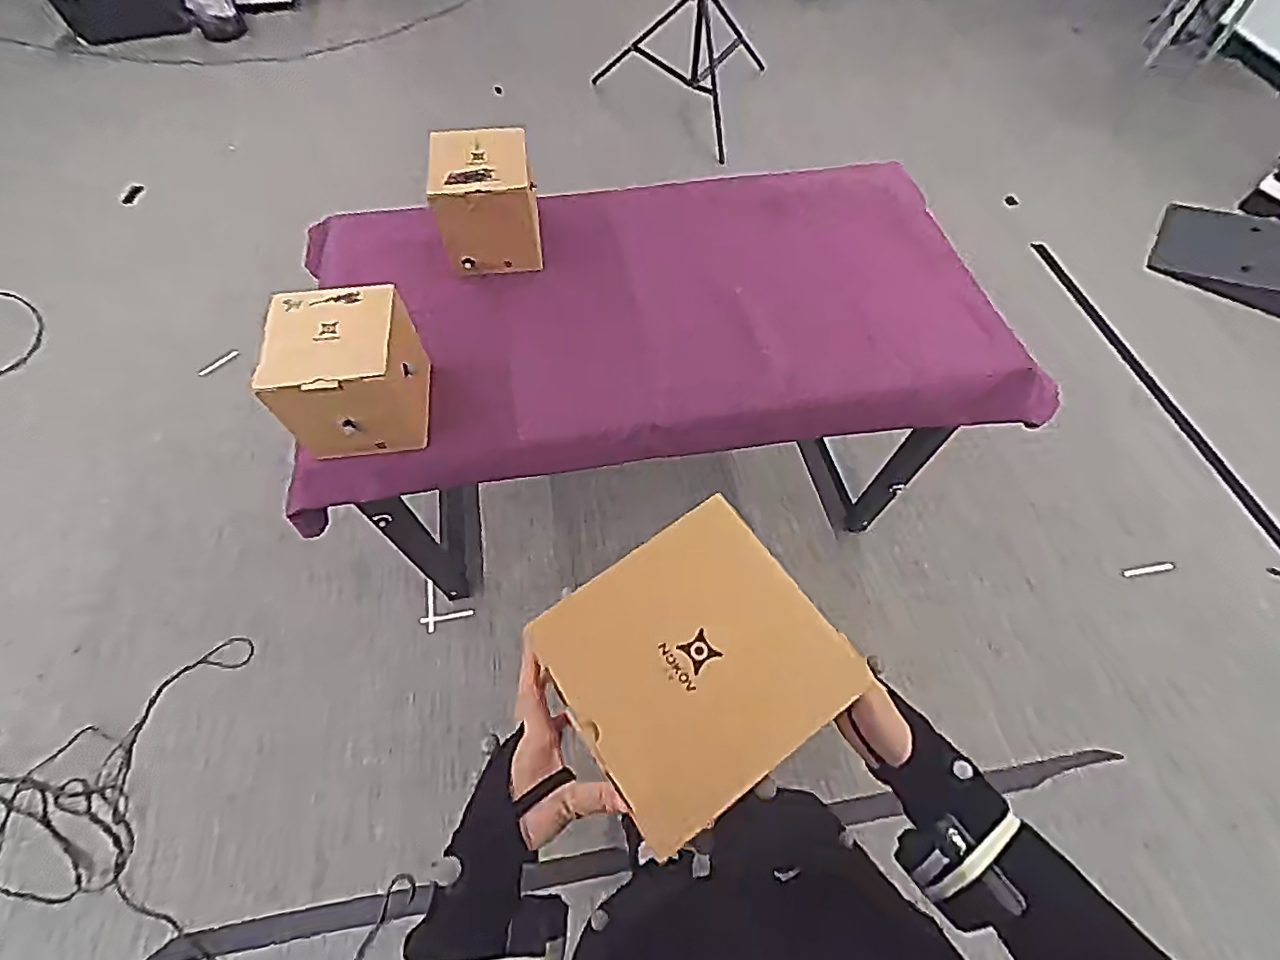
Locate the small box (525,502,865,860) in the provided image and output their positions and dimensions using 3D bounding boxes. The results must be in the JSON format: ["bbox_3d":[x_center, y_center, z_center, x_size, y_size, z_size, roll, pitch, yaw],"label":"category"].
[{"bbox_3d":[0.038,0.151,0.439,0.179,0.176,0.168,-35,70,-10],"label":"small box"}]

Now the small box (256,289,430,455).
[{"bbox_3d":[-0.418,-0.149,0.795,0.168,0.176,0.179,-7,61,-6],"label":"small box"}]

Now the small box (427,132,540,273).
[{"bbox_3d":[-0.278,-0.499,0.991,0.168,0.176,0.179,-6,62,-5],"label":"small box"}]
